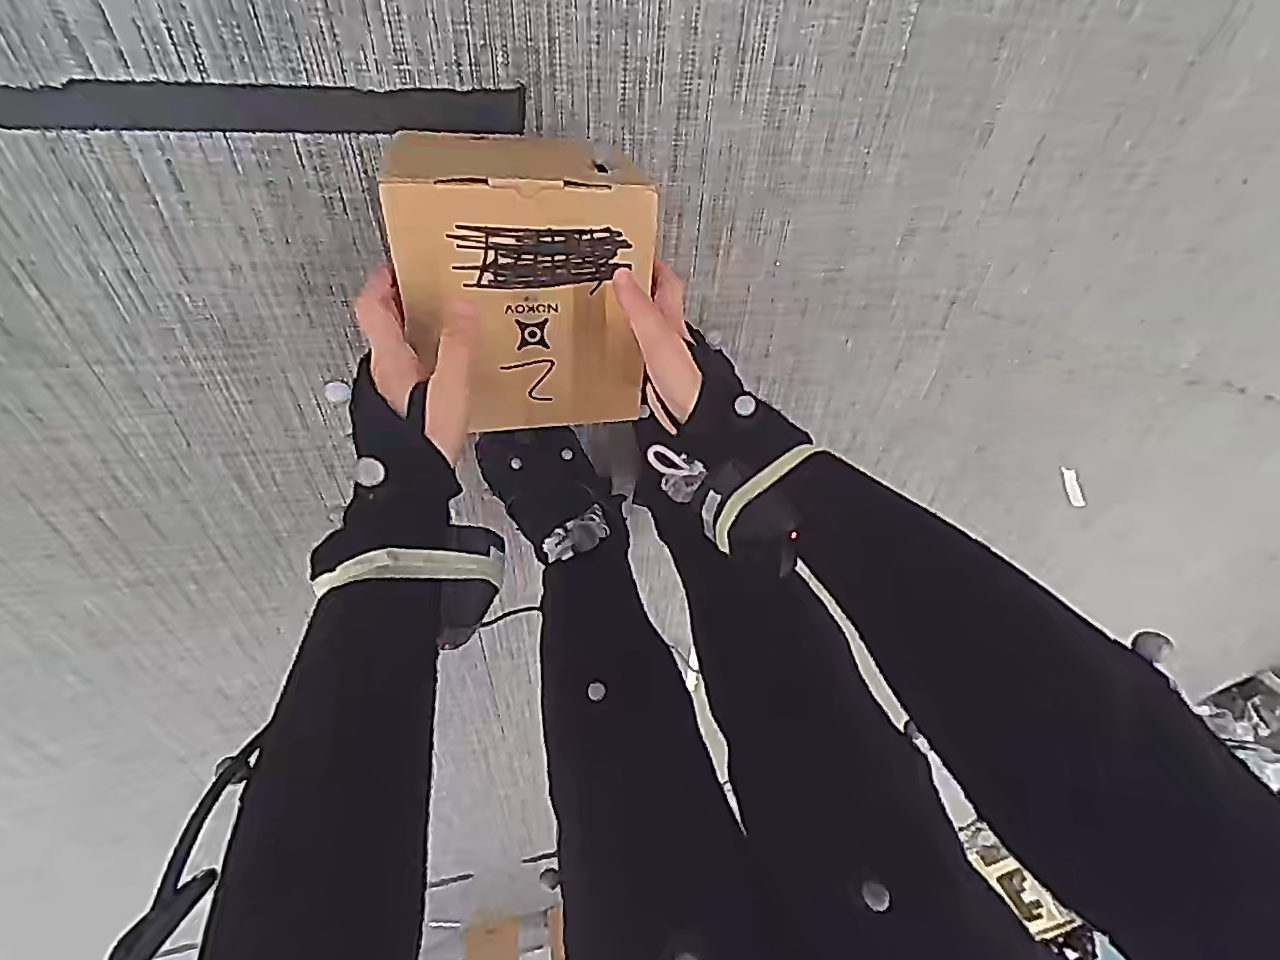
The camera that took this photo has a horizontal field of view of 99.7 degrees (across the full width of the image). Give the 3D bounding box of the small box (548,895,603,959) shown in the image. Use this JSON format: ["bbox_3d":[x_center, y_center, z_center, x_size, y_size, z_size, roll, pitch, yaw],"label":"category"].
[{"bbox_3d":[-0.236,1.638,1.958,0.179,0.176,0.168,-5,130,-13],"label":"small box"}]

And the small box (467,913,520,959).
[{"bbox_3d":[-0.508,1.649,1.881,0.179,0.176,0.168,-3,130,-15],"label":"small box"}]
